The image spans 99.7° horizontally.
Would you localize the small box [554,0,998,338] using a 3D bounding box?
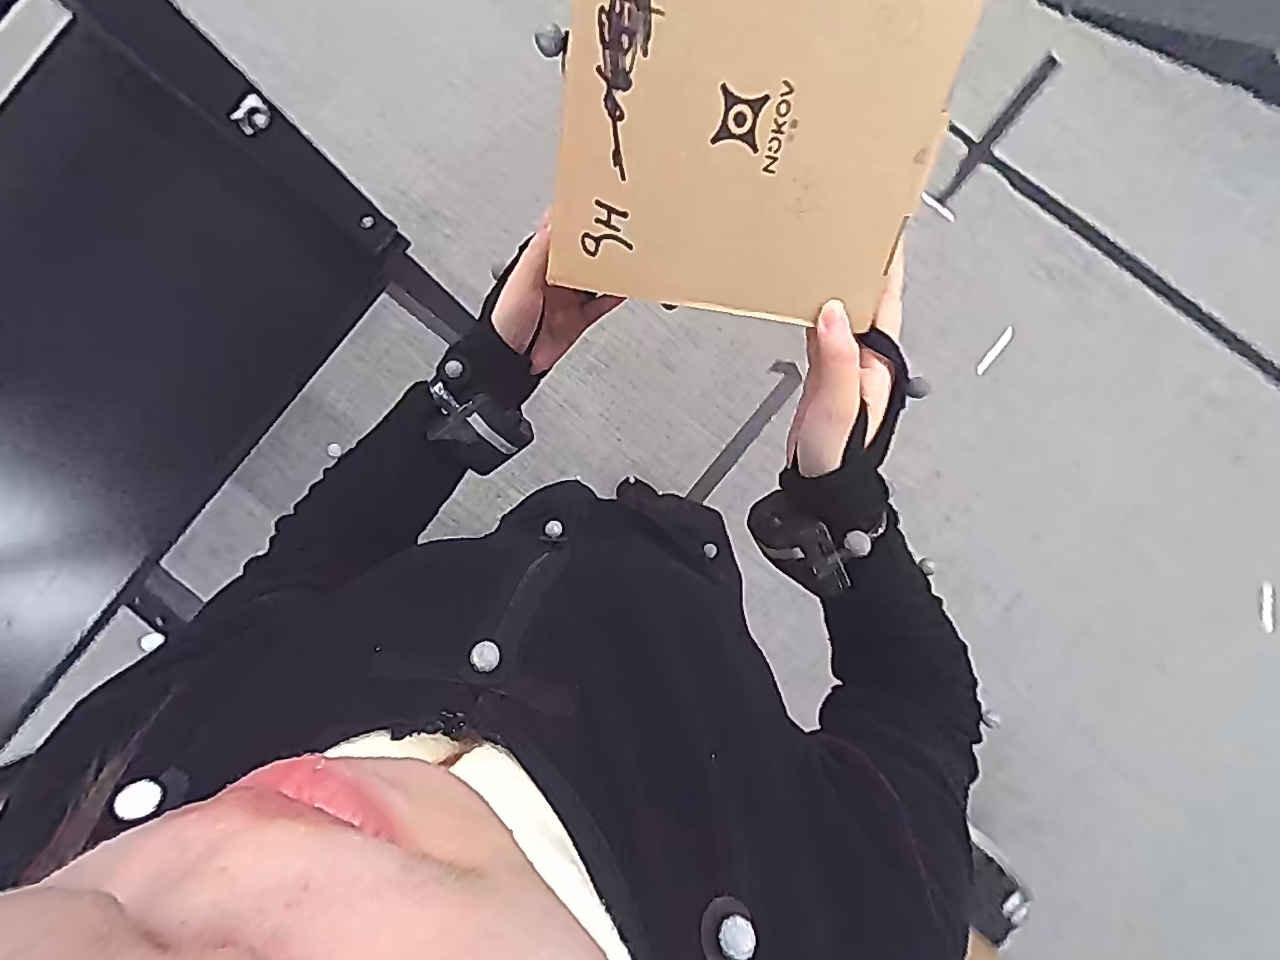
[{"bbox_3d":[0.047,-0.192,0.314,0.179,0.176,0.168,7,113,-12],"label":"small box"}]
